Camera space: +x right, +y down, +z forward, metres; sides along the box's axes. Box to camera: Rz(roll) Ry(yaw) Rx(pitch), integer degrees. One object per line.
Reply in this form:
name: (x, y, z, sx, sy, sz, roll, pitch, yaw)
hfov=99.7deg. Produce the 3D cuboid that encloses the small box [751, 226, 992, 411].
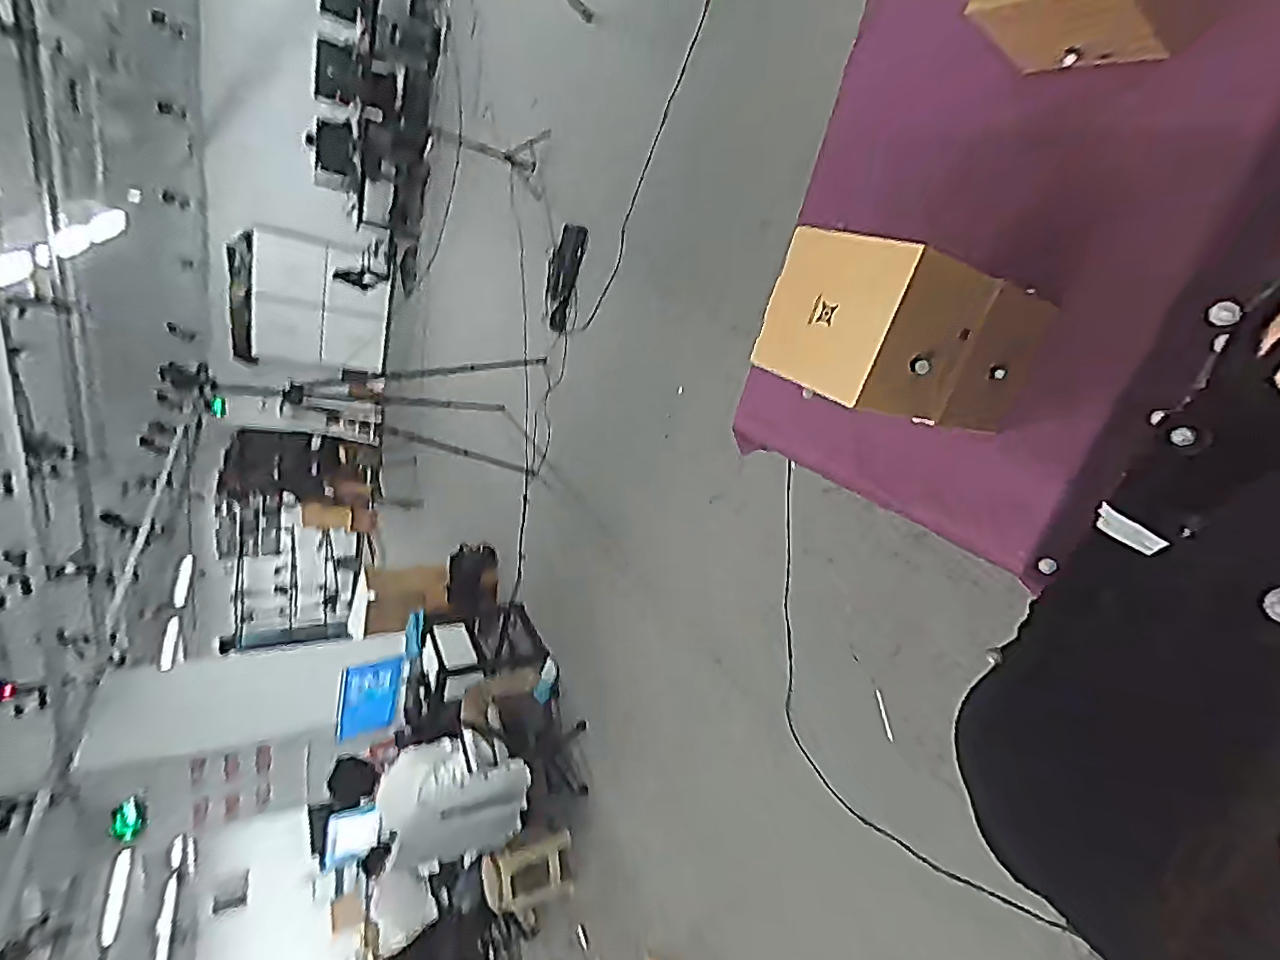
small box: (0.273, -0.188, 0.649, 0.179, 0.176, 0.168, 43, 124, 49)

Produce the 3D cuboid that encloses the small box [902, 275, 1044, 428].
small box: (0.408, -0.182, 0.740, 0.168, 0.176, 0.179, 41, 123, 49)
